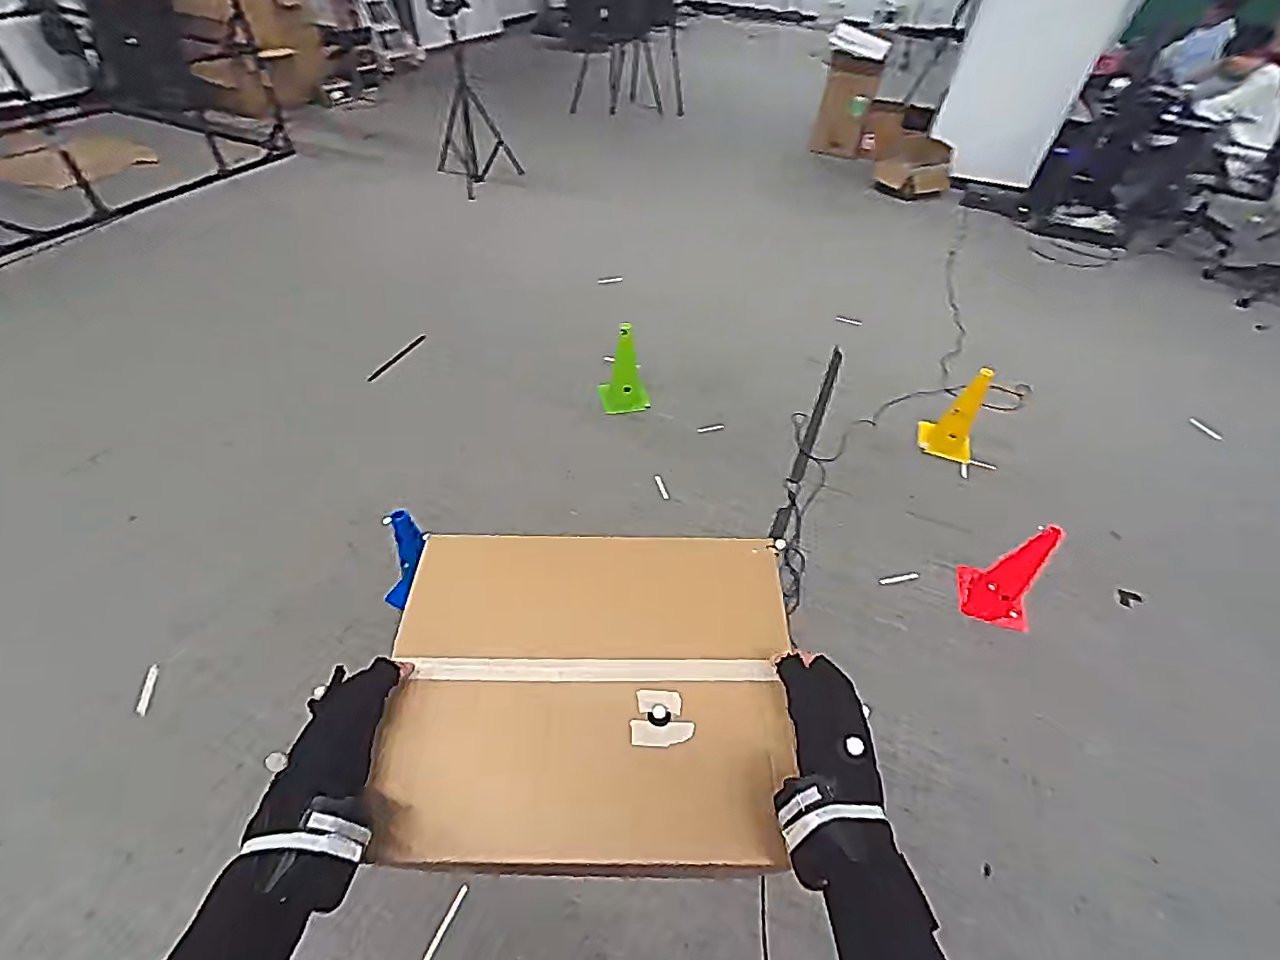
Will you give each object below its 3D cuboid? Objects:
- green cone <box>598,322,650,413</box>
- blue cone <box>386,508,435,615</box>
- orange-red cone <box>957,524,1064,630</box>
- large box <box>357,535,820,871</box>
[{"bbox_3d":[-0.067,-0.484,2.226,0.202,0.368,0.200,-10,48,-10],"label":"green cone"},{"bbox_3d":[-0.652,0.219,1.559,0.192,0.380,0.193,21,49,17],"label":"blue cone"},{"bbox_3d":[1.136,0.254,1.617,0.198,0.360,0.199,18,47,11],"label":"orange-red cone"},{"bbox_3d":[-0.045,0.282,0.664,0.408,0.320,0.320,2,52,0],"label":"large box"}]
